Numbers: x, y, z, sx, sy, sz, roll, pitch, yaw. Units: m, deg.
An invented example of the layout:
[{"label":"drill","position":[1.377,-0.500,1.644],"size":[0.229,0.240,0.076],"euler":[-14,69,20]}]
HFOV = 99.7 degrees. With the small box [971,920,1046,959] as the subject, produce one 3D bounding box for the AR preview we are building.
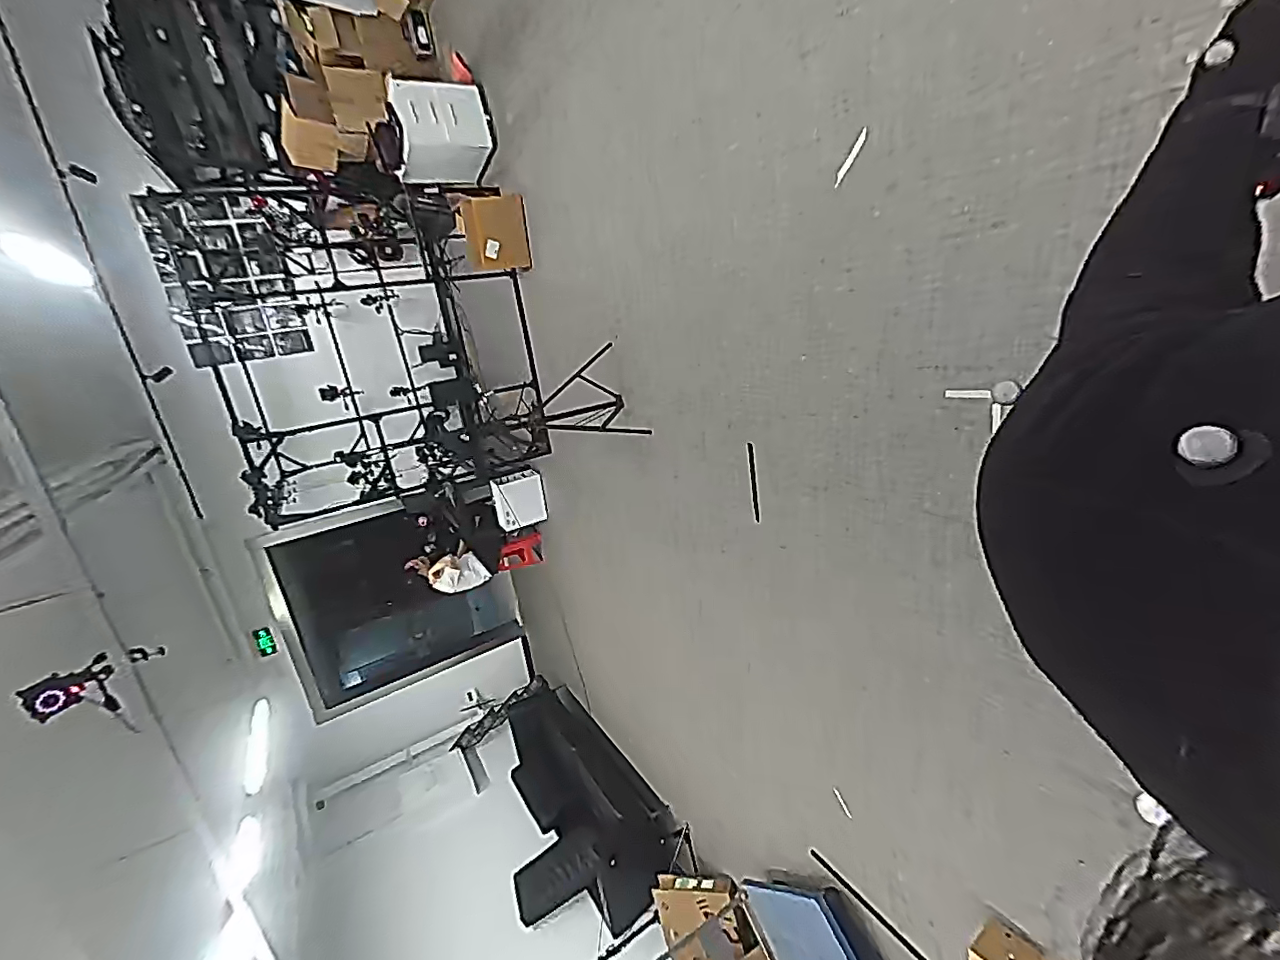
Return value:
[{"label":"small box","position":[1.248,1.653,1.819],"size":[0.168,0.176,0.179],"euler":[8,113,60]}]
